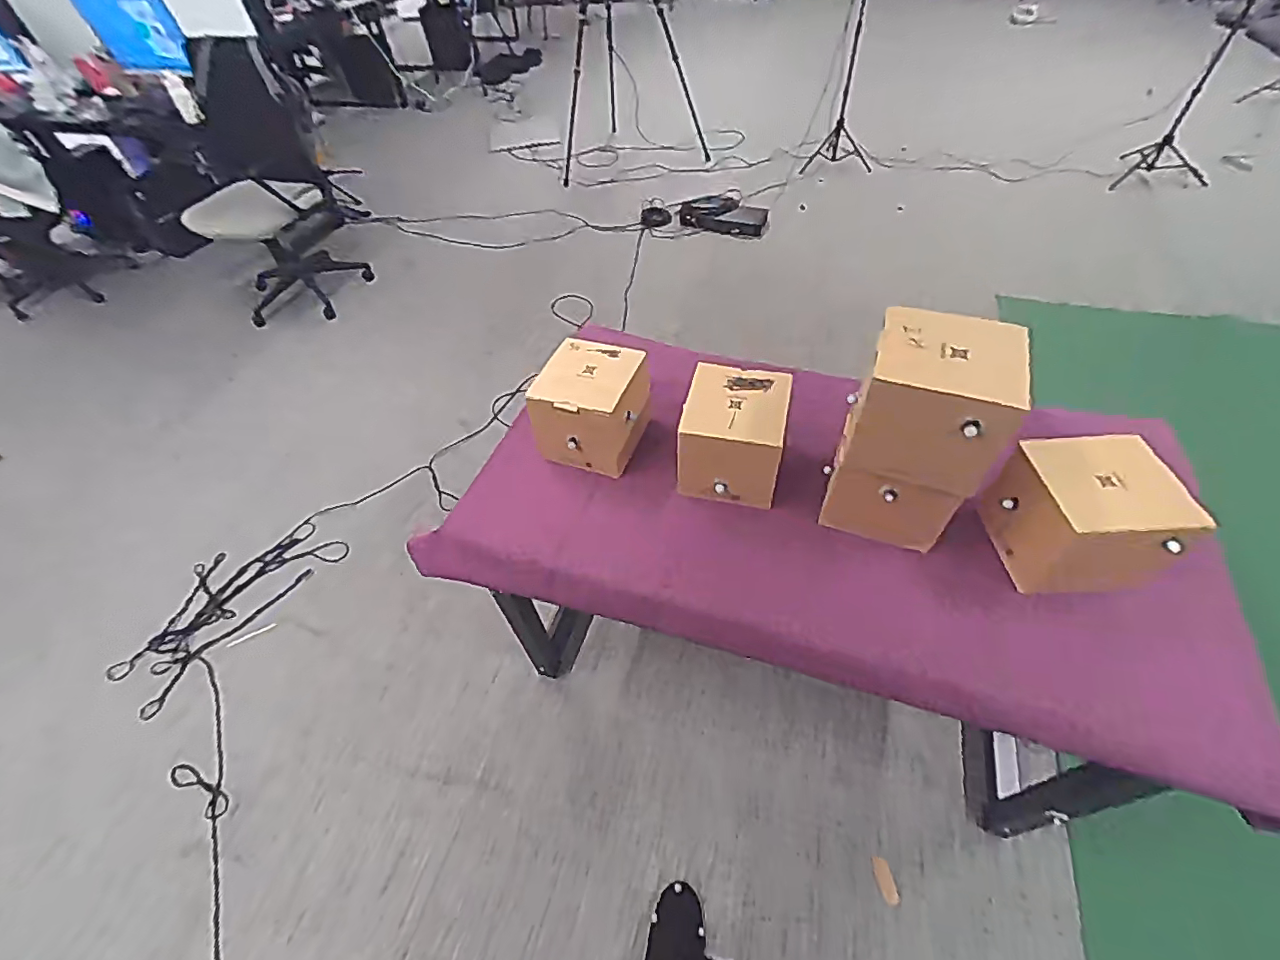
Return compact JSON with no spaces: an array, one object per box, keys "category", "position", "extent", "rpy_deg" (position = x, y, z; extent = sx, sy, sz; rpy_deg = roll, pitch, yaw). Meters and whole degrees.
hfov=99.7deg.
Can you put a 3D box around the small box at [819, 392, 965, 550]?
[{"category":"small box","position":[0.403,-0.012,0.872],"extent":[0.179,0.176,0.168],"rpy_deg":[17,54,17]}]

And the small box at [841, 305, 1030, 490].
[{"category":"small box","position":[0.395,-0.109,0.739],"extent":[0.179,0.176,0.168],"rpy_deg":[17,54,17]}]

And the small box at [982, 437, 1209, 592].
[{"category":"small box","position":[0.642,0.055,0.799],"extent":[0.179,0.176,0.168],"rpy_deg":[-3,50,2]}]

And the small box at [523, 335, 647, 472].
[{"category":"small box","position":[-0.090,-0.141,1.012],"extent":[0.168,0.176,0.179],"rpy_deg":[15,54,16]}]

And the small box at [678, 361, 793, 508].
[{"category":"small box","position":[0.162,-0.079,0.943],"extent":[0.168,0.176,0.179],"rpy_deg":[10,53,13]}]
